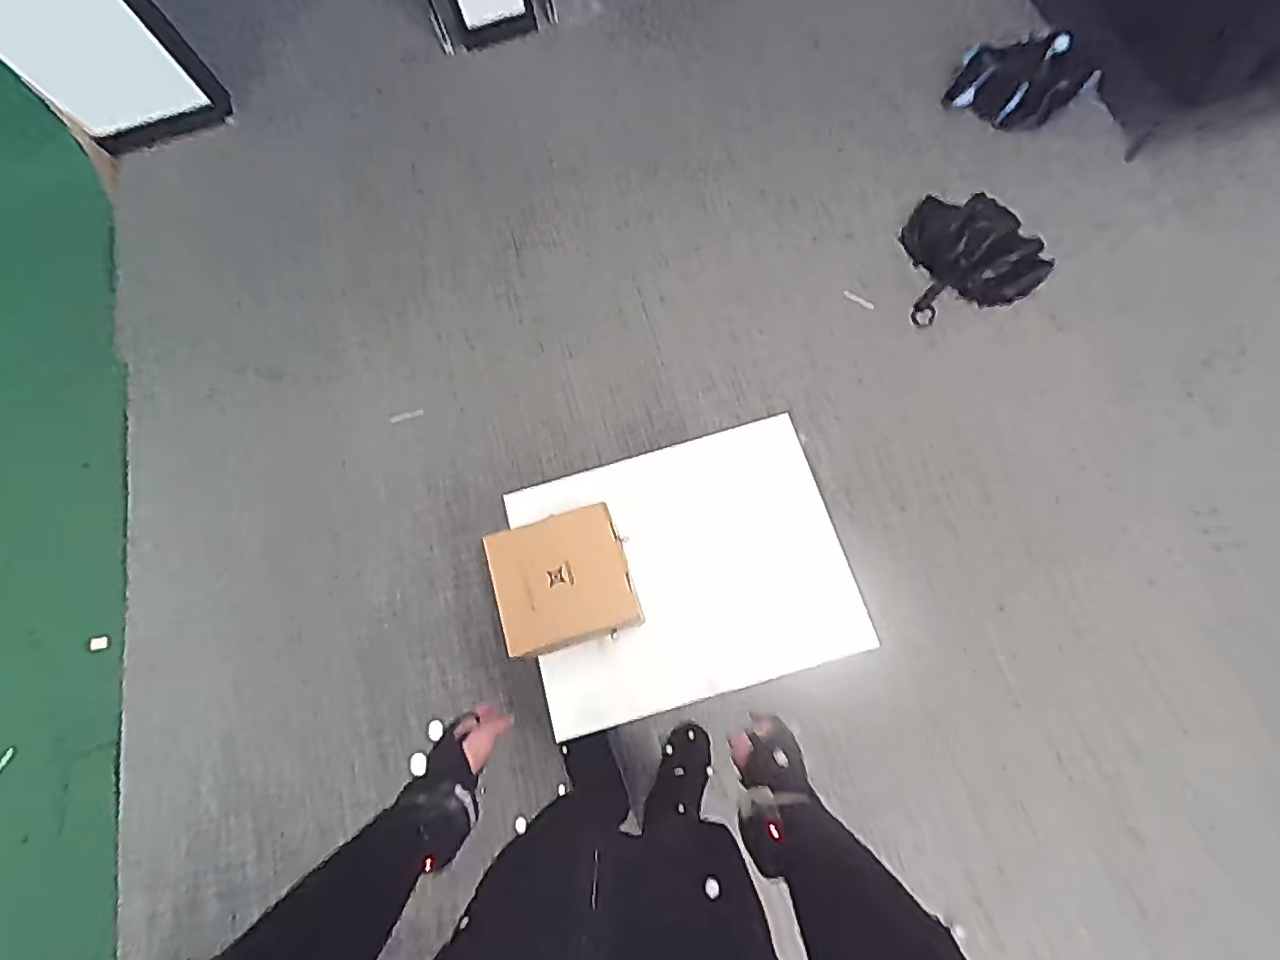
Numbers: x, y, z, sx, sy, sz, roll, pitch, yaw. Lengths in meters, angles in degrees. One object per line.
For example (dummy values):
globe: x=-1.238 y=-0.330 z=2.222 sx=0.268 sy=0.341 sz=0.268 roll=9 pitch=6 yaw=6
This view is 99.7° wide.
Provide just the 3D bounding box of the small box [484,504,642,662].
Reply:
small box: x=-0.101 y=0.153 z=0.774 sx=0.179 sy=0.176 sz=0.168 roll=-17 pitch=71 yaw=-3
